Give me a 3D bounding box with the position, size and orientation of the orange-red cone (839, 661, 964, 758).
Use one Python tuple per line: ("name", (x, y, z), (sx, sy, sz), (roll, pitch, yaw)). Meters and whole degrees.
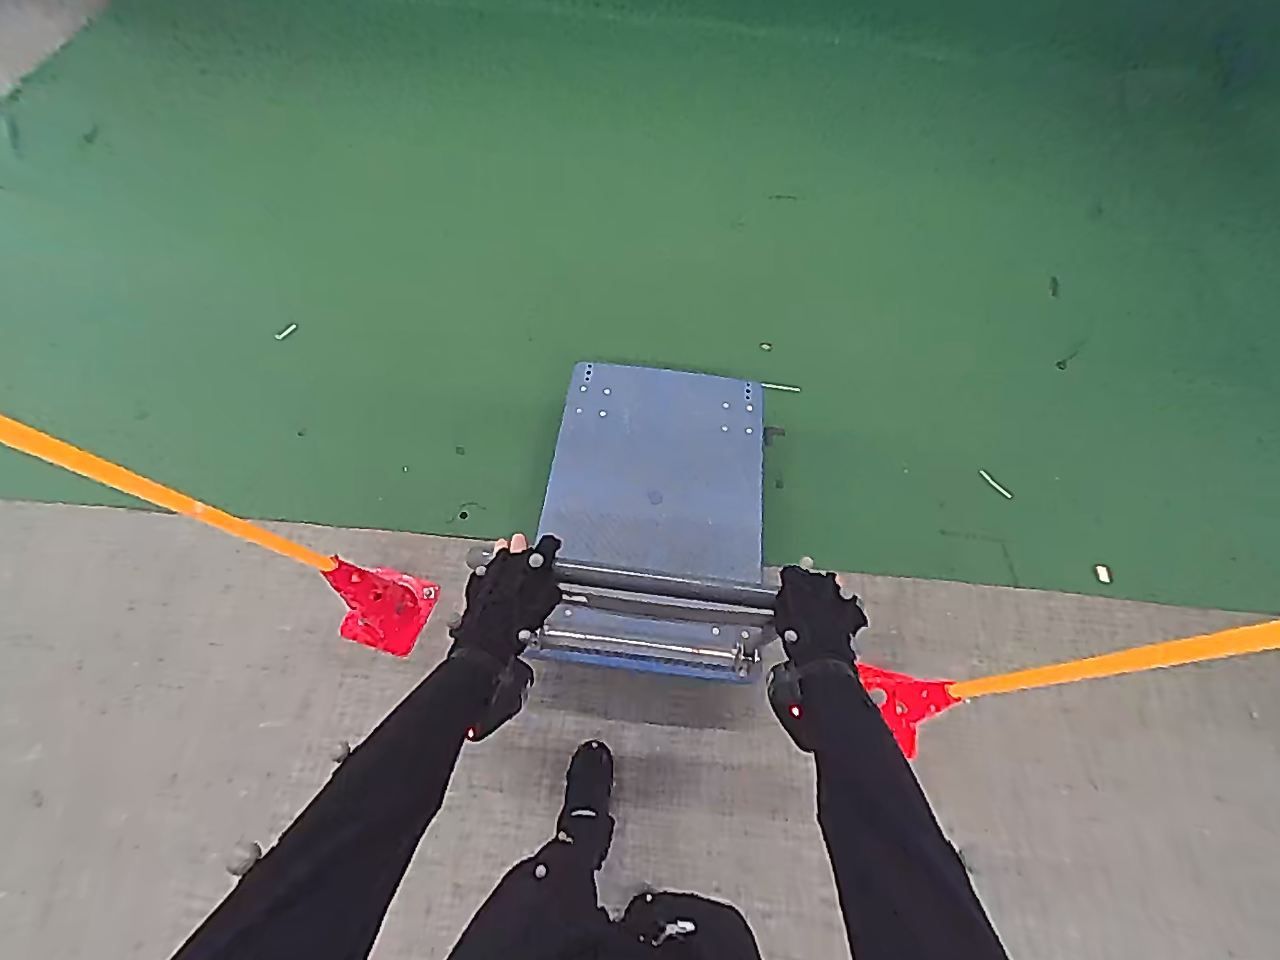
("orange-red cone", (0.618, 0.498, 1.223), (0.198, 0.360, 0.199), (14, 62, 6))
